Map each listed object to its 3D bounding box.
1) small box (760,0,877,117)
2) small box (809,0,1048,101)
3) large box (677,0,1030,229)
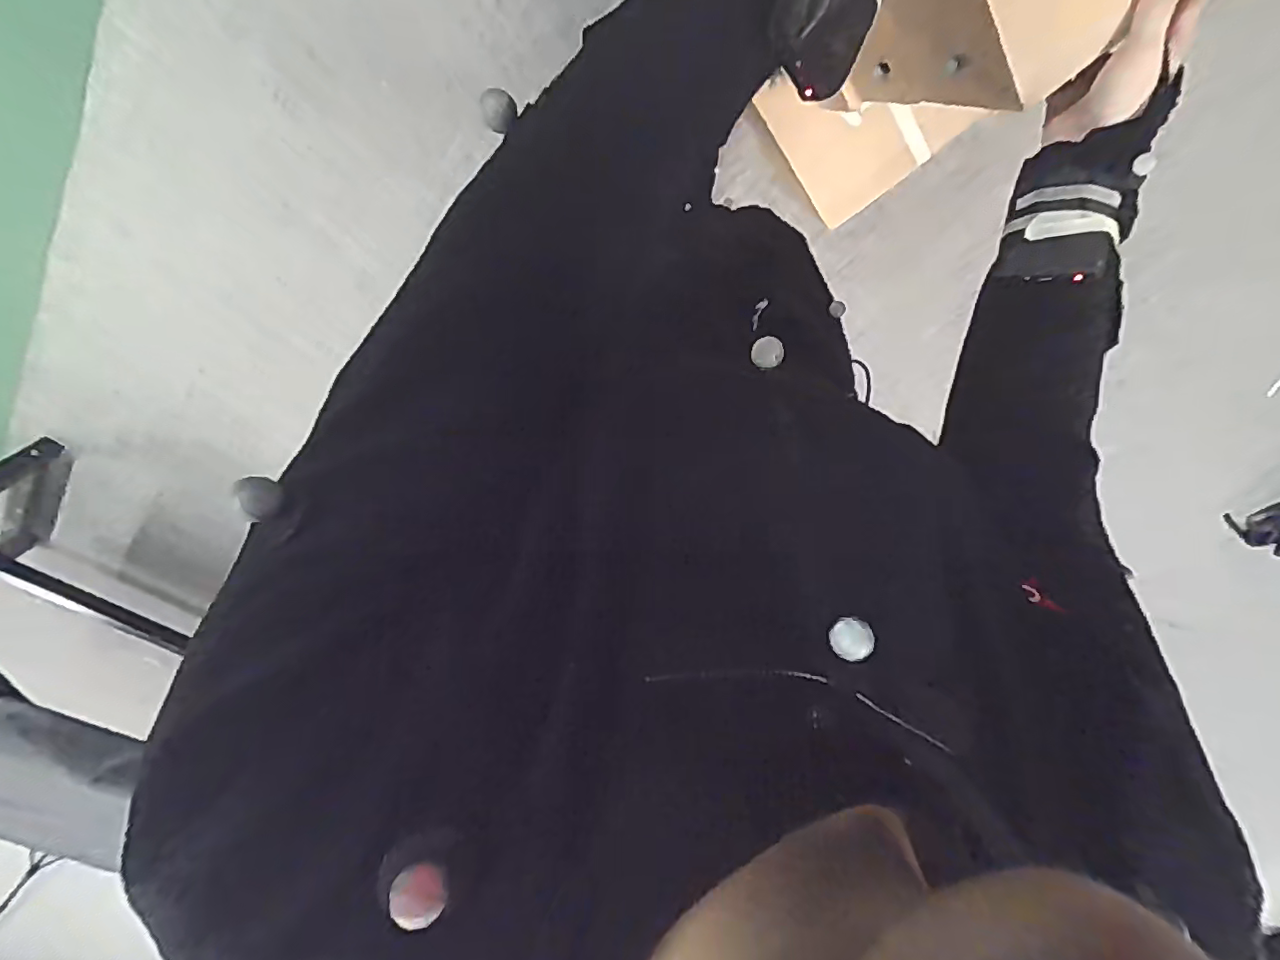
[{"bbox_3d":[0.260,-0.570,0.634,0.168,0.176,0.179,-34,117,23],"label":"small box"},{"bbox_3d":[0.262,-0.486,0.495,0.168,0.176,0.179,-34,119,23],"label":"small box"},{"bbox_3d":[0.301,-0.690,0.844,0.320,0.320,0.408,-33,119,25],"label":"large box"}]
